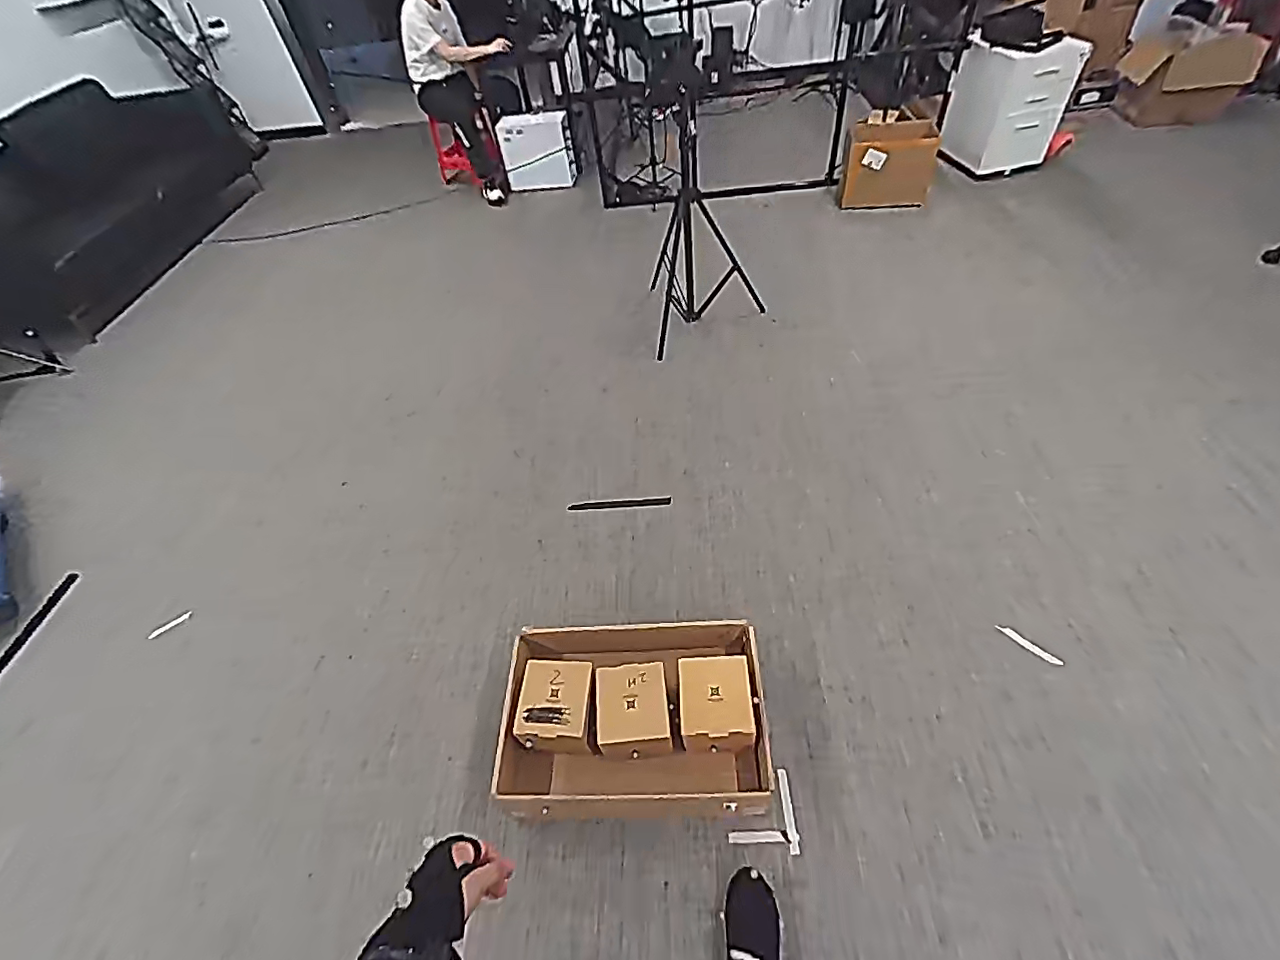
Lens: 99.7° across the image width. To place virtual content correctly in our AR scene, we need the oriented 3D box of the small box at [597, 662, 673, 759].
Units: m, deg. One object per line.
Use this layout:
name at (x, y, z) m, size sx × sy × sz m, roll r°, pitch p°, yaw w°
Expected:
small box at (-0.011, 0.566, 1.314) m, size 0.168 × 0.176 × 0.179 m, roll -6°, pitch 49°, yaw 1°

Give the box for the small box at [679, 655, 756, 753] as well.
small box at (0.184, 0.542, 1.306) m, size 0.168 × 0.176 × 0.179 m, roll -6°, pitch 50°, yaw 6°
